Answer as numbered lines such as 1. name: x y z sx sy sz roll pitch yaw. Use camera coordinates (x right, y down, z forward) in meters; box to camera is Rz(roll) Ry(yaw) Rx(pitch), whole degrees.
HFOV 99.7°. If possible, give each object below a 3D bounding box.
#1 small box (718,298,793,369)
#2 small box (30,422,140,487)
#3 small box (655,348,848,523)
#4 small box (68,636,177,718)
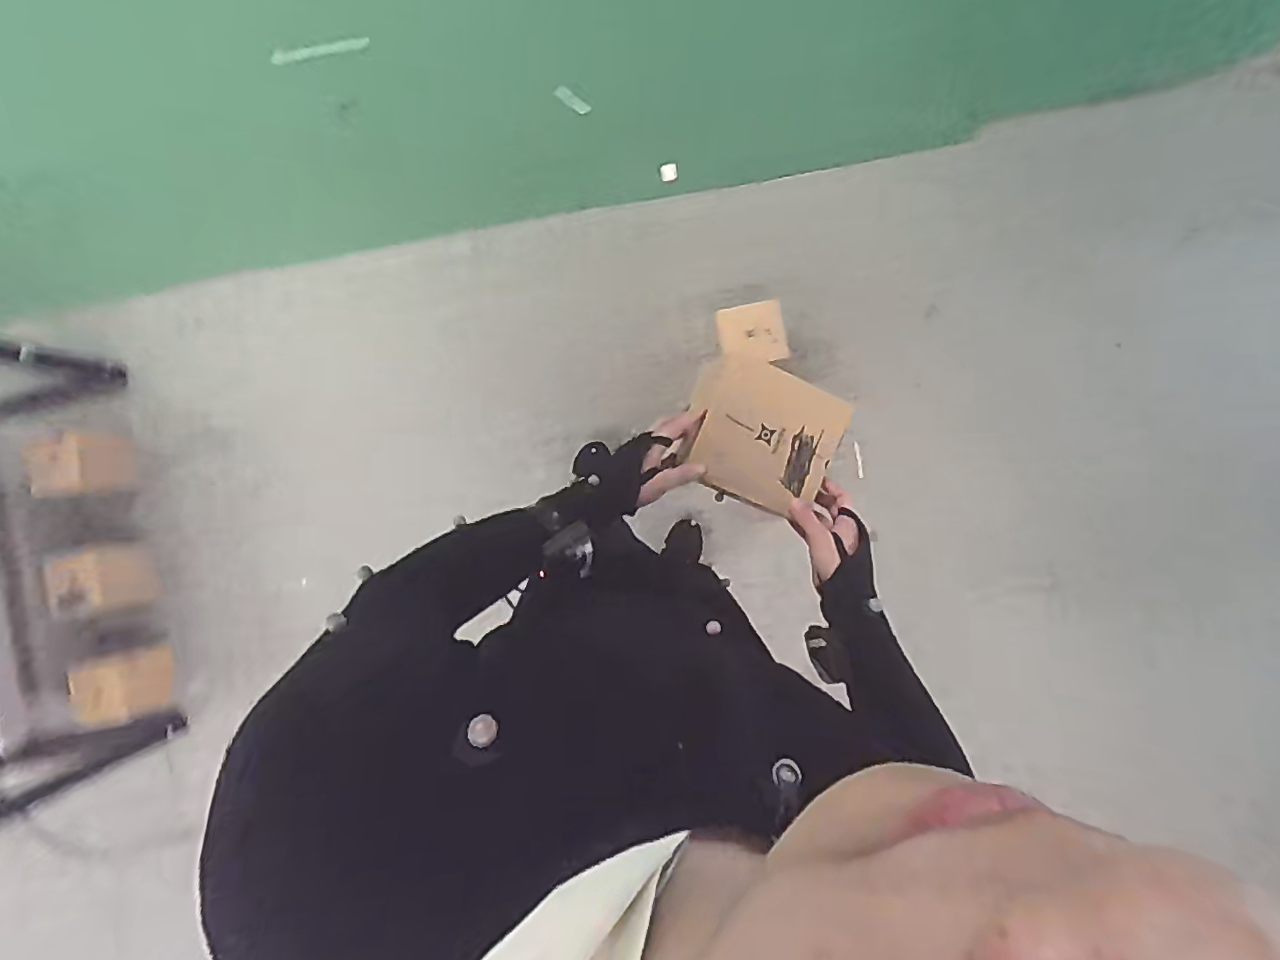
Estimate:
1. small box: 0.318 -0.391 1.524 0.179 0.176 0.168 -10 89 3
2. small box: -1.676 -0.075 1.644 0.168 0.176 0.179 -7 90 3
3. small box: 0.138 -0.059 0.735 0.179 0.176 0.168 23 91 -9
4. small box: -1.553 0.590 1.633 0.168 0.176 0.179 -10 89 3
